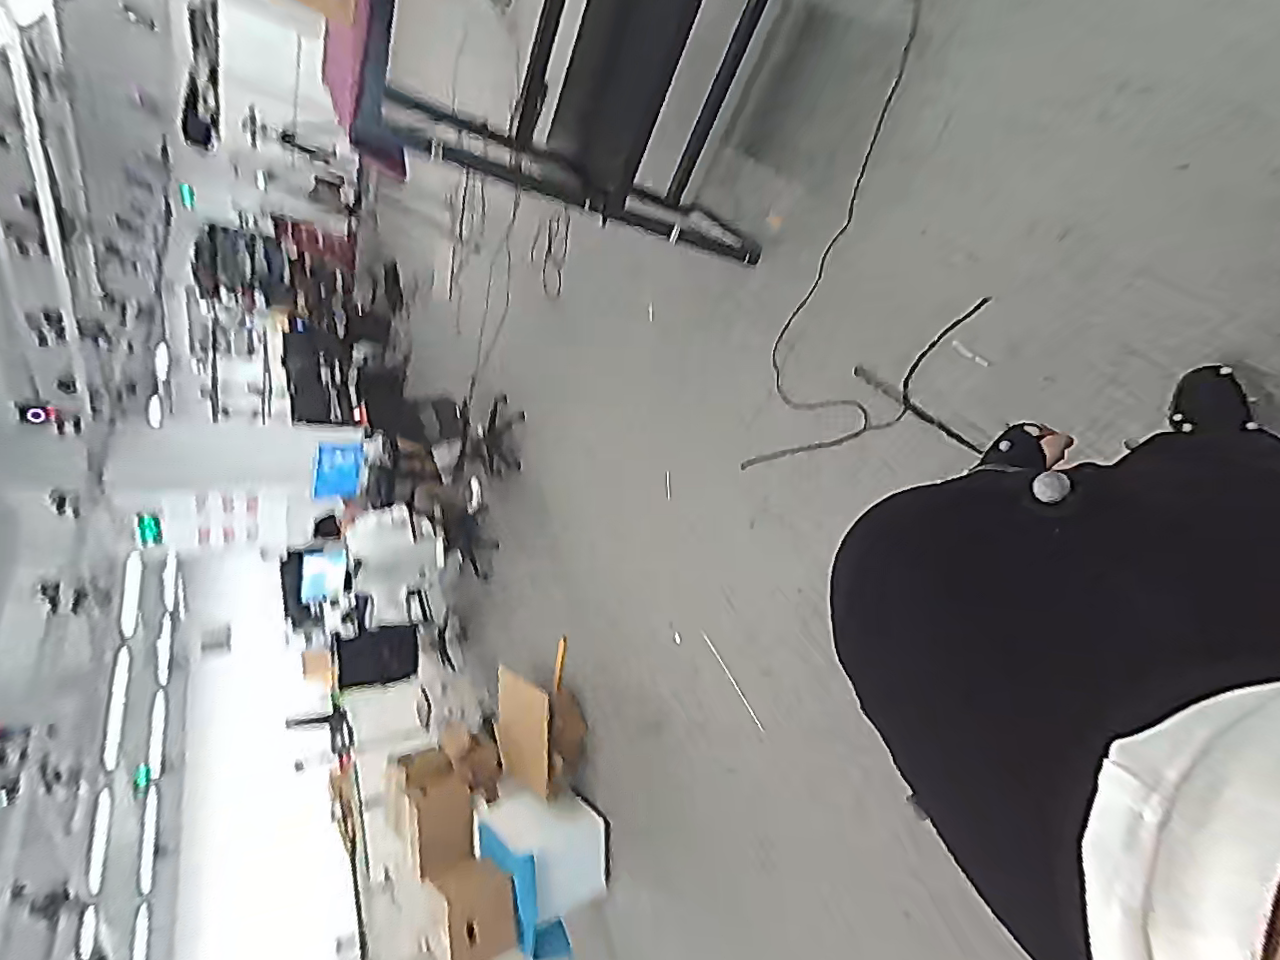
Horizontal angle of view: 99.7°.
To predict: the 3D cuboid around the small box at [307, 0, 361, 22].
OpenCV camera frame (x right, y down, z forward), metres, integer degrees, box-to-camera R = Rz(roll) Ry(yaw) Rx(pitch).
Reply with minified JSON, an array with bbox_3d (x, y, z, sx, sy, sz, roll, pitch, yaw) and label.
[{"bbox_3d":[-0.708,-1.153,1.189,0.179,0.176,0.168,57,132,37],"label":"small box"}]
